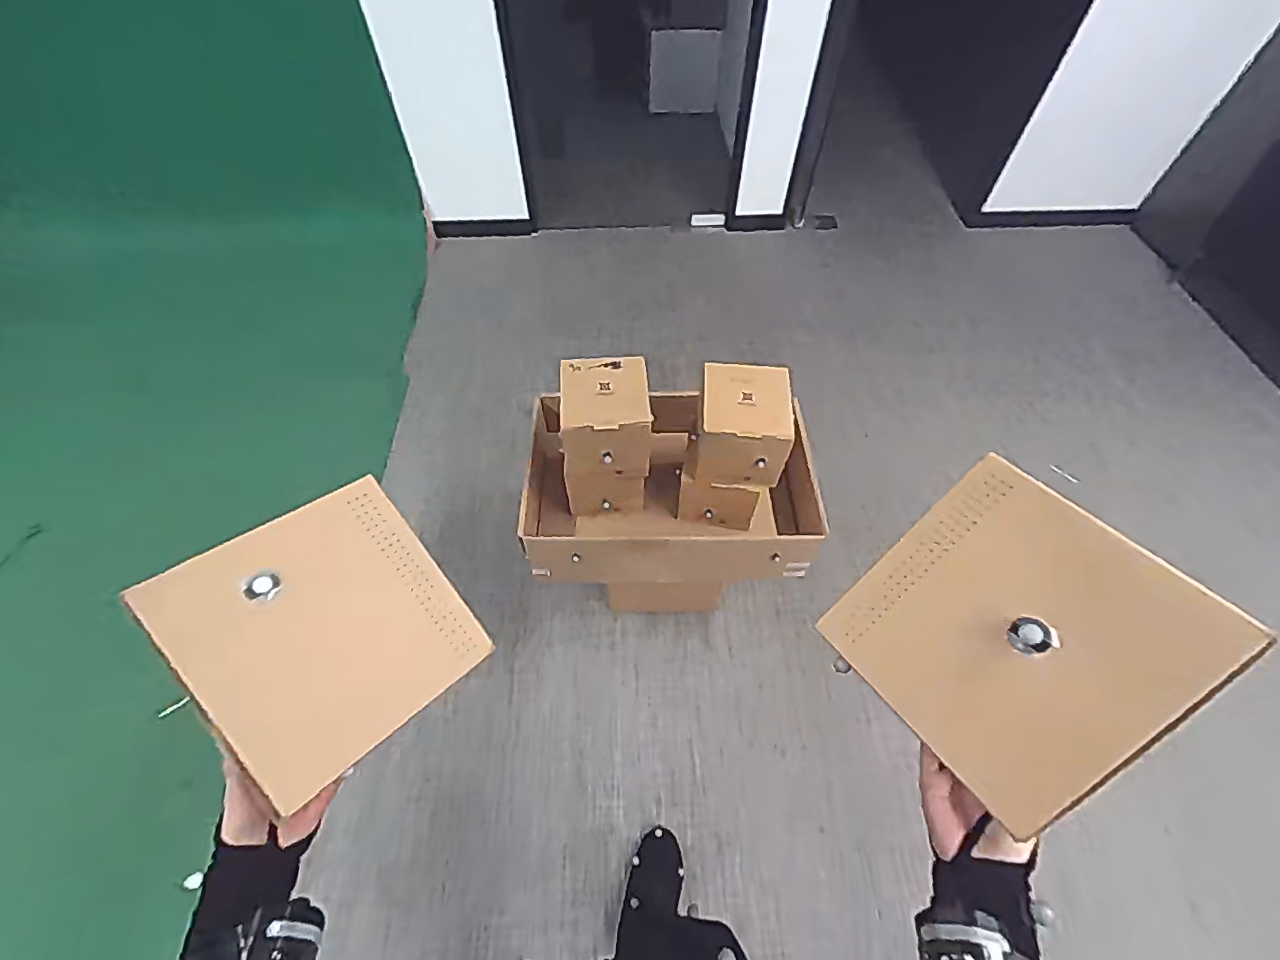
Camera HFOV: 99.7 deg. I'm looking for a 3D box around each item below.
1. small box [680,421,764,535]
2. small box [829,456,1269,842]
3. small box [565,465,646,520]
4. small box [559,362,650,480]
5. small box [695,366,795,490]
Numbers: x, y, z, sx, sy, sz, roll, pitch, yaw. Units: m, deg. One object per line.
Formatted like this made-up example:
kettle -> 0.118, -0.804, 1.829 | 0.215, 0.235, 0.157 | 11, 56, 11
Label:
small box -> 0.182, -0.002, 1.199 | 0.168, 0.176, 0.179 | 8, 57, 6
small box -> 0.265, 0.114, 0.400 | 0.179, 0.168, 0.176 | -50, 54, 10
small box -> -0.076, -0.029, 1.213 | 0.168, 0.176, 0.179 | -3, 56, -2
small box -> -0.066, -0.109, 1.070 | 0.168, 0.176, 0.179 | -3, 56, -3
small box -> 0.200, -0.097, 1.065 | 0.168, 0.176, 0.179 | 6, 56, 2
